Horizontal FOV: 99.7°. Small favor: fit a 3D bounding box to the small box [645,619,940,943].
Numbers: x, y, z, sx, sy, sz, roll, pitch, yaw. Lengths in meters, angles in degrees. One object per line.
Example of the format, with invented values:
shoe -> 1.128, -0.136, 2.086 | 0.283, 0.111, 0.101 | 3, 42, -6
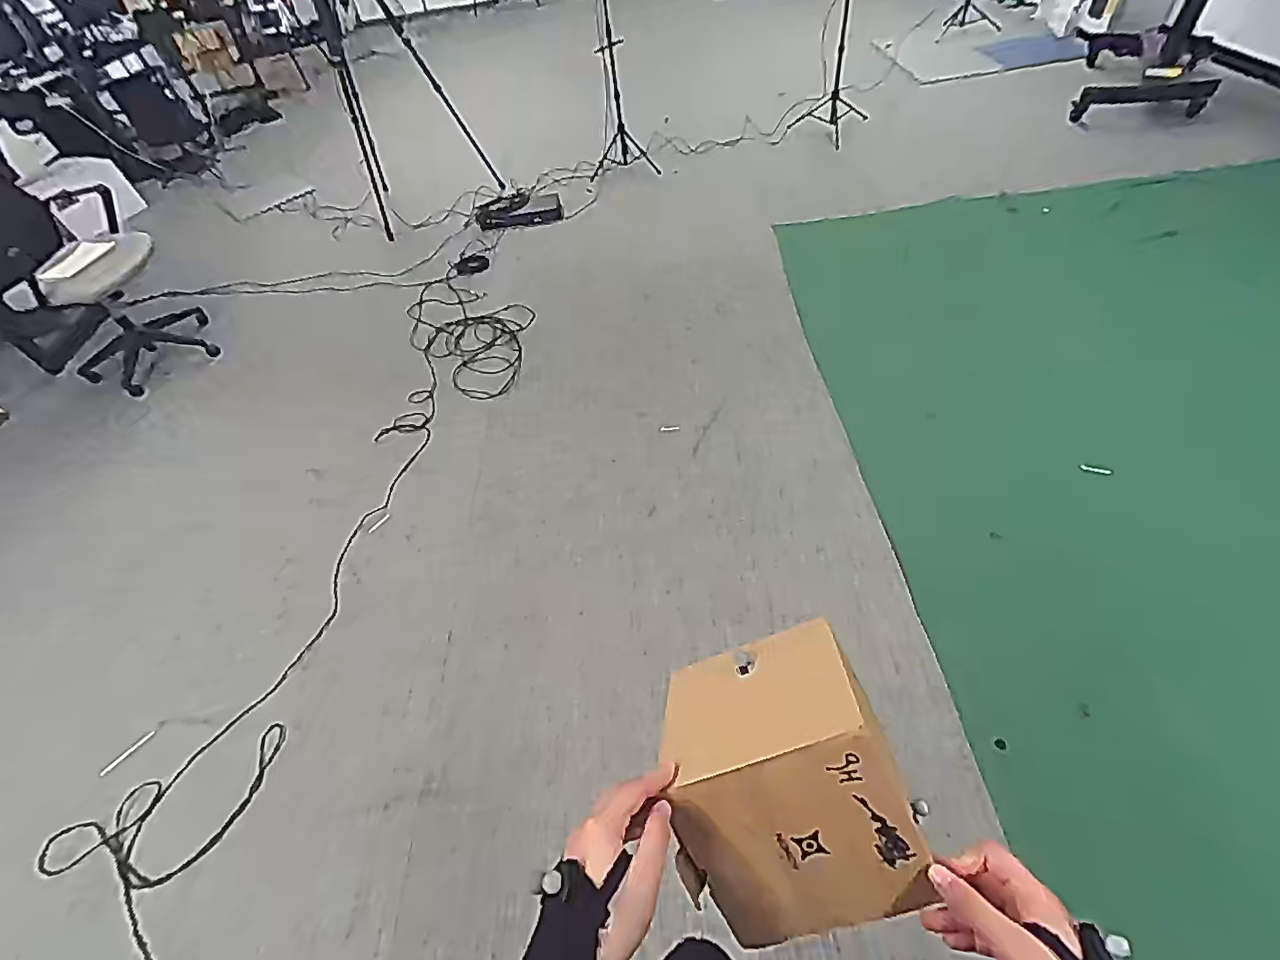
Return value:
small box -> 0.128, 0.257, 0.490 | 0.179, 0.168, 0.176 | -26, 9, 15
